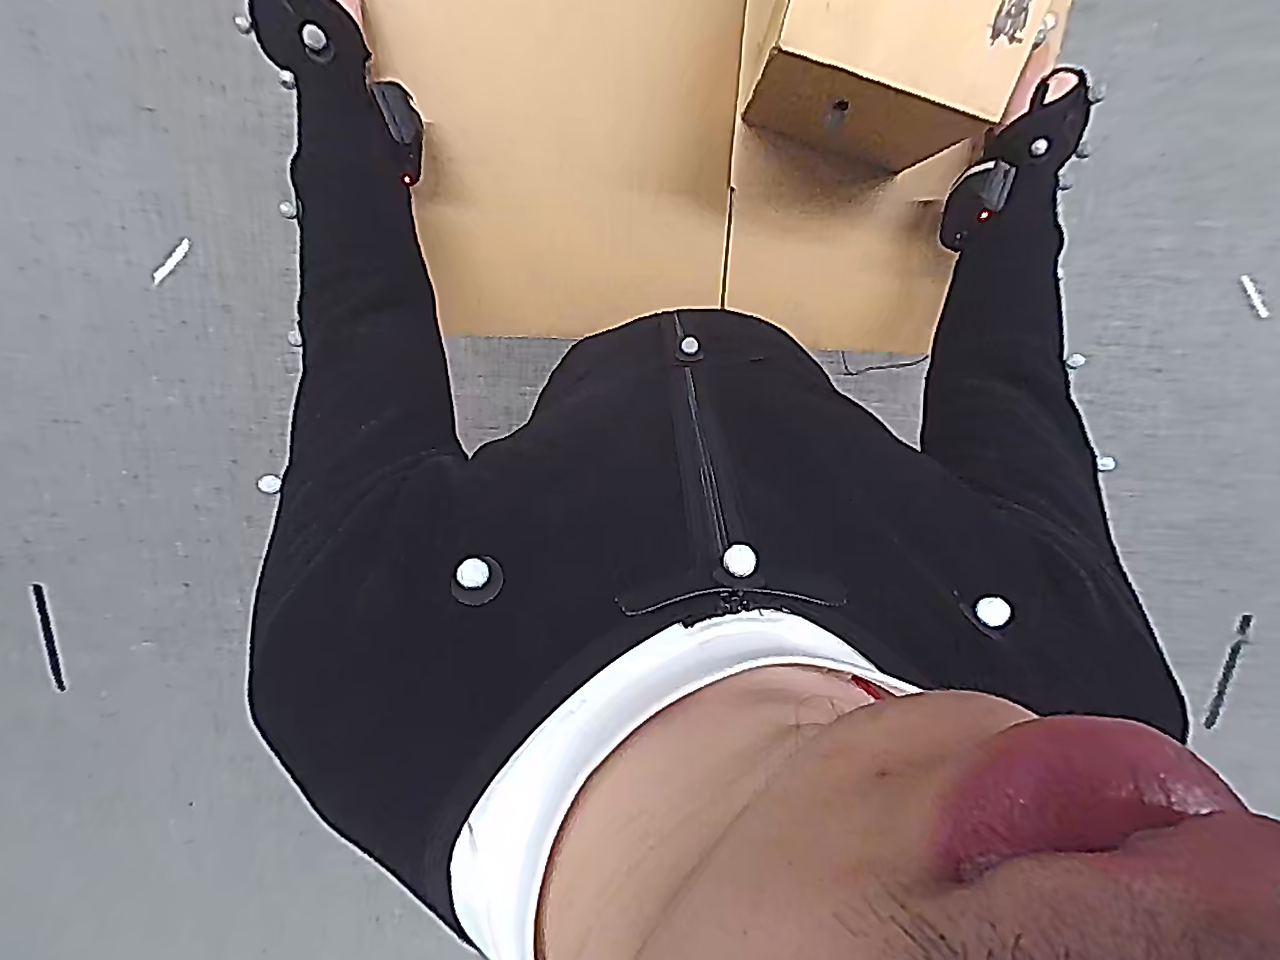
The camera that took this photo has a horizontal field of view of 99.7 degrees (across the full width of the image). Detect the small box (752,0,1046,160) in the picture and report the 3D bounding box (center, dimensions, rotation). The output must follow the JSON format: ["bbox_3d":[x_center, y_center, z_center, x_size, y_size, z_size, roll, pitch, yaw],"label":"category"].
[{"bbox_3d":[0.206,-0.390,0.444,0.179,0.176,0.168,16,109,-3],"label":"small box"}]
